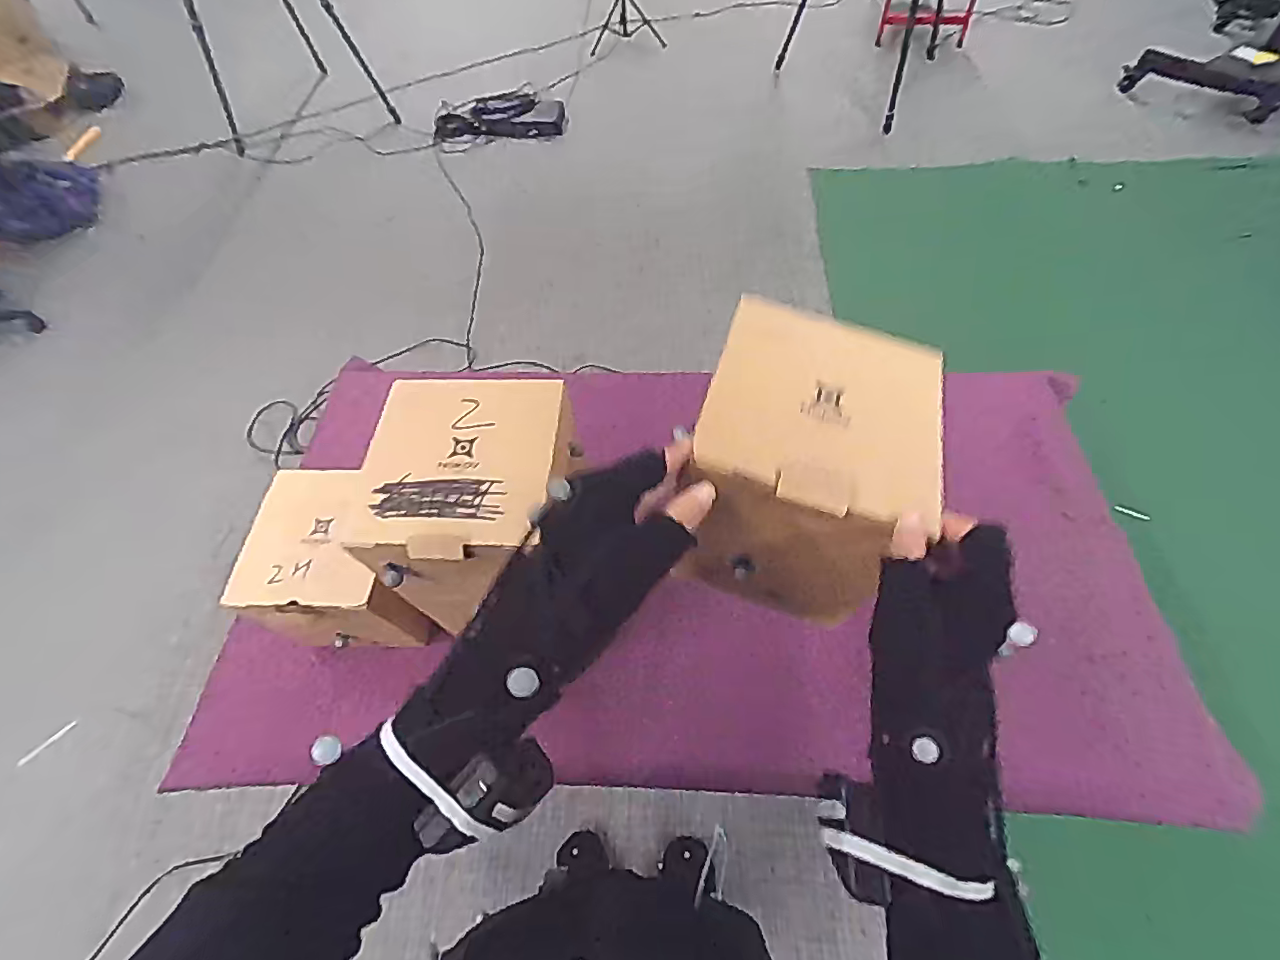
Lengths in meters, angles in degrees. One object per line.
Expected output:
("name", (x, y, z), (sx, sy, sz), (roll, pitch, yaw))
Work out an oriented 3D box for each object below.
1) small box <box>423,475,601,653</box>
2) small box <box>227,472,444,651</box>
("small box", (-0.144, 0.112, 0.684), (0.168, 0.176, 0.179), (2, 58, 4))
("small box", (-0.364, 0.107, 0.696), (0.168, 0.176, 0.179), (1, 59, 4))
